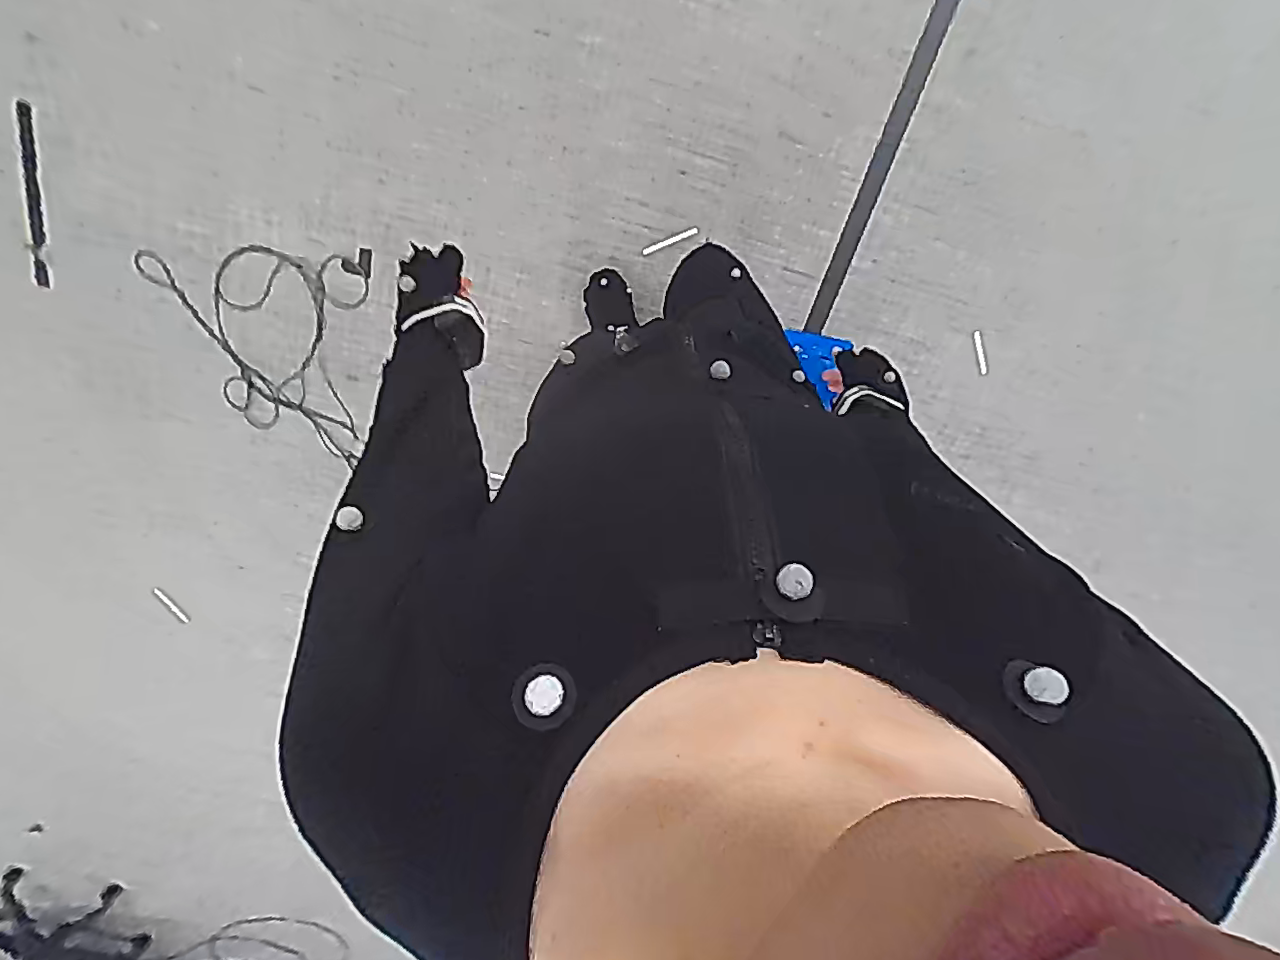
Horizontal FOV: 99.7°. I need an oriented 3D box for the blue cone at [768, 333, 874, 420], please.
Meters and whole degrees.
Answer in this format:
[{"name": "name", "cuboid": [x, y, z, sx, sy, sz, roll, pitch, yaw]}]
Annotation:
[{"name": "blue cone", "cuboid": [0.445, -0.216, 1.271, 0.192, 0.380, 0.193, 10, 113, -7]}]
